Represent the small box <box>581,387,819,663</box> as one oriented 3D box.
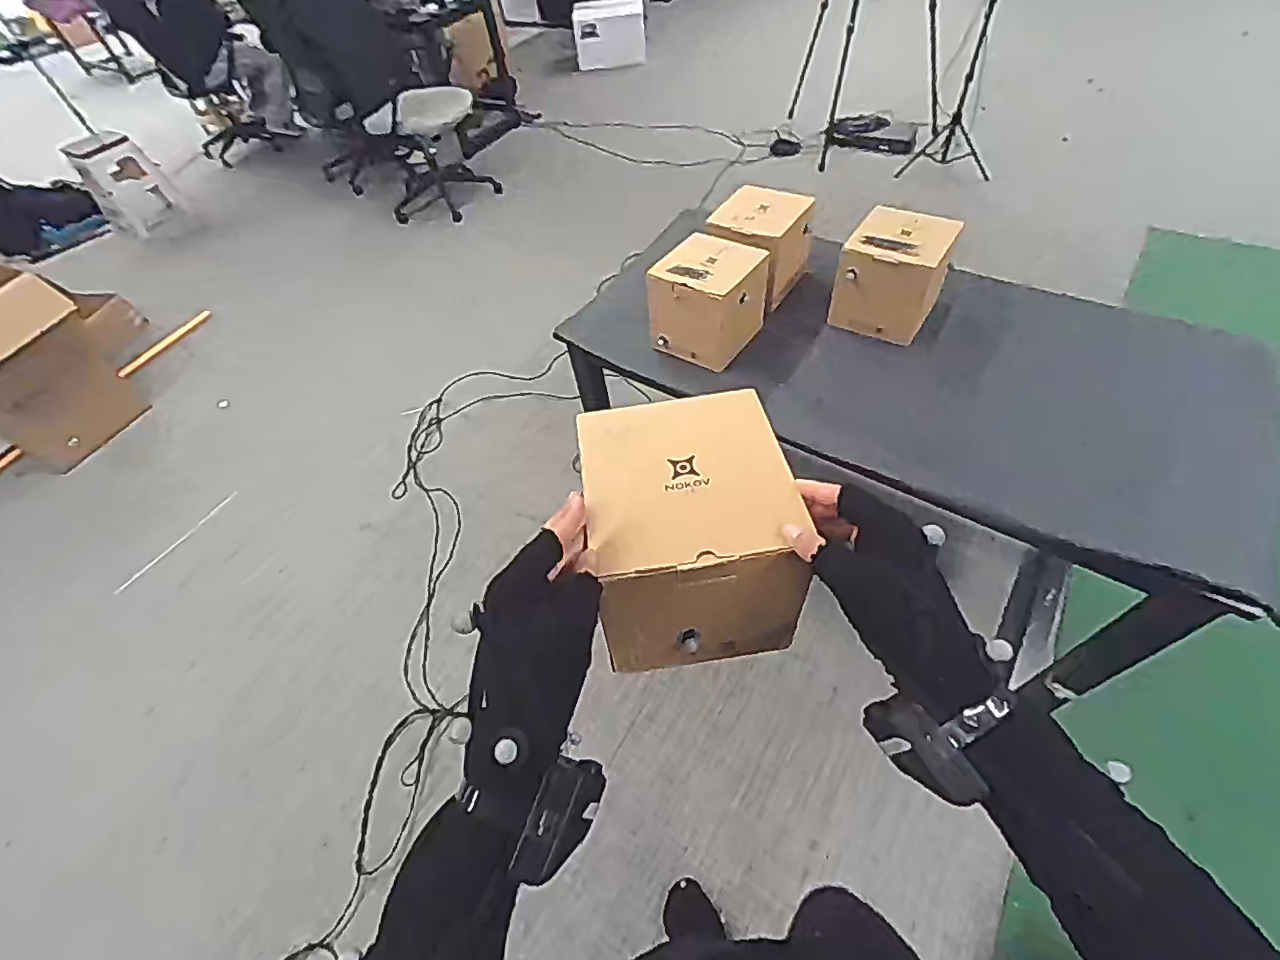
[{"bbox_3d":[0.041,0.042,0.494,0.168,0.176,0.179,-8,50,-3],"label":"small box"}]
